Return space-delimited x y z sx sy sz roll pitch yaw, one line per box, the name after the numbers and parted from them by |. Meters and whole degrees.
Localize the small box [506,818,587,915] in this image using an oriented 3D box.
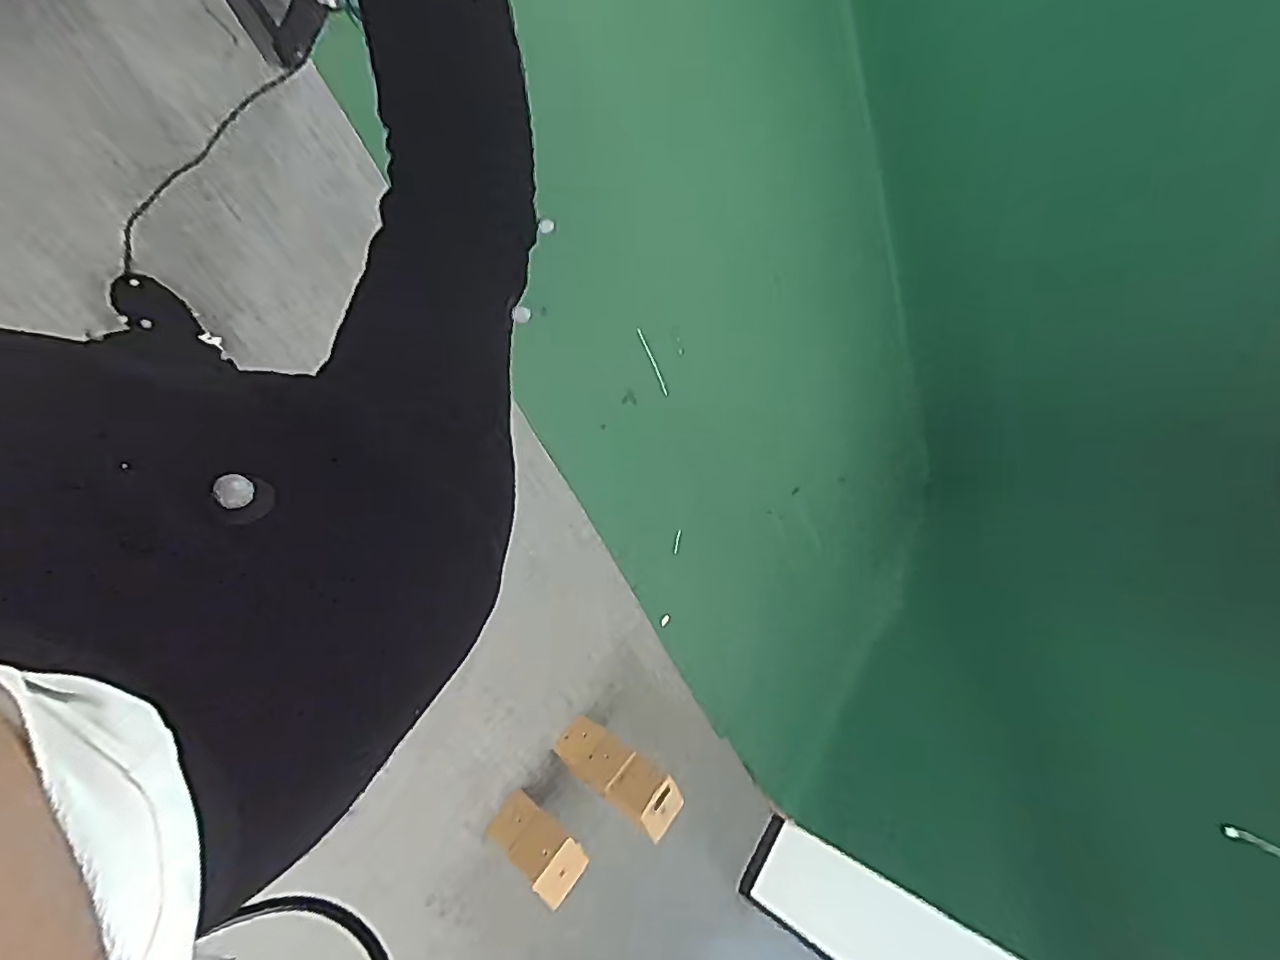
-0.318 1.292 1.822 0.179 0.176 0.168 -42 121 -32 | small box

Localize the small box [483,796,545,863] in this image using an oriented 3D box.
-0.427 1.286 1.945 0.179 0.176 0.168 -44 123 -32 | small box

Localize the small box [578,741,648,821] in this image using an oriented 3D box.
-0.103 1.104 2.005 0.168 0.176 0.179 -39 121 -33 | small box

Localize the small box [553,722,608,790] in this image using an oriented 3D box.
-0.214 1.087 2.127 0.168 0.176 0.179 -41 122 -33 | small box
